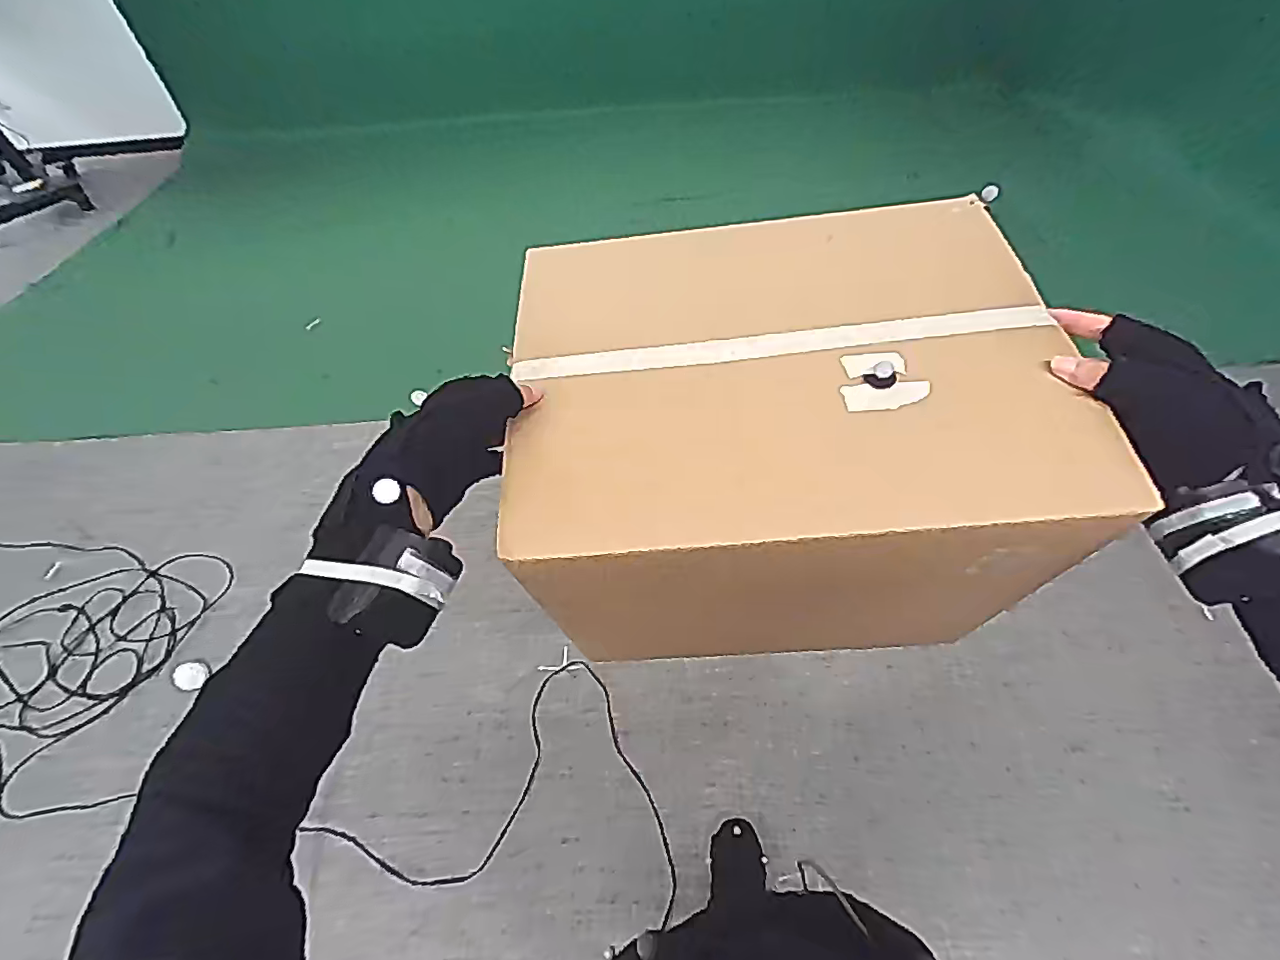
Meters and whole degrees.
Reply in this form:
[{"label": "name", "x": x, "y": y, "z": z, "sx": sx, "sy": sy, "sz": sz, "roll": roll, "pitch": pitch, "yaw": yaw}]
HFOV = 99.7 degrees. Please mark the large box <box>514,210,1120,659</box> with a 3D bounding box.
[{"label": "large box", "x": 0.116, "y": -0.020, "z": 0.556, "sx": 0.408, "sy": 0.320, "sz": 0.320, "roll": -6, "pitch": 60, "yaw": 4}]
